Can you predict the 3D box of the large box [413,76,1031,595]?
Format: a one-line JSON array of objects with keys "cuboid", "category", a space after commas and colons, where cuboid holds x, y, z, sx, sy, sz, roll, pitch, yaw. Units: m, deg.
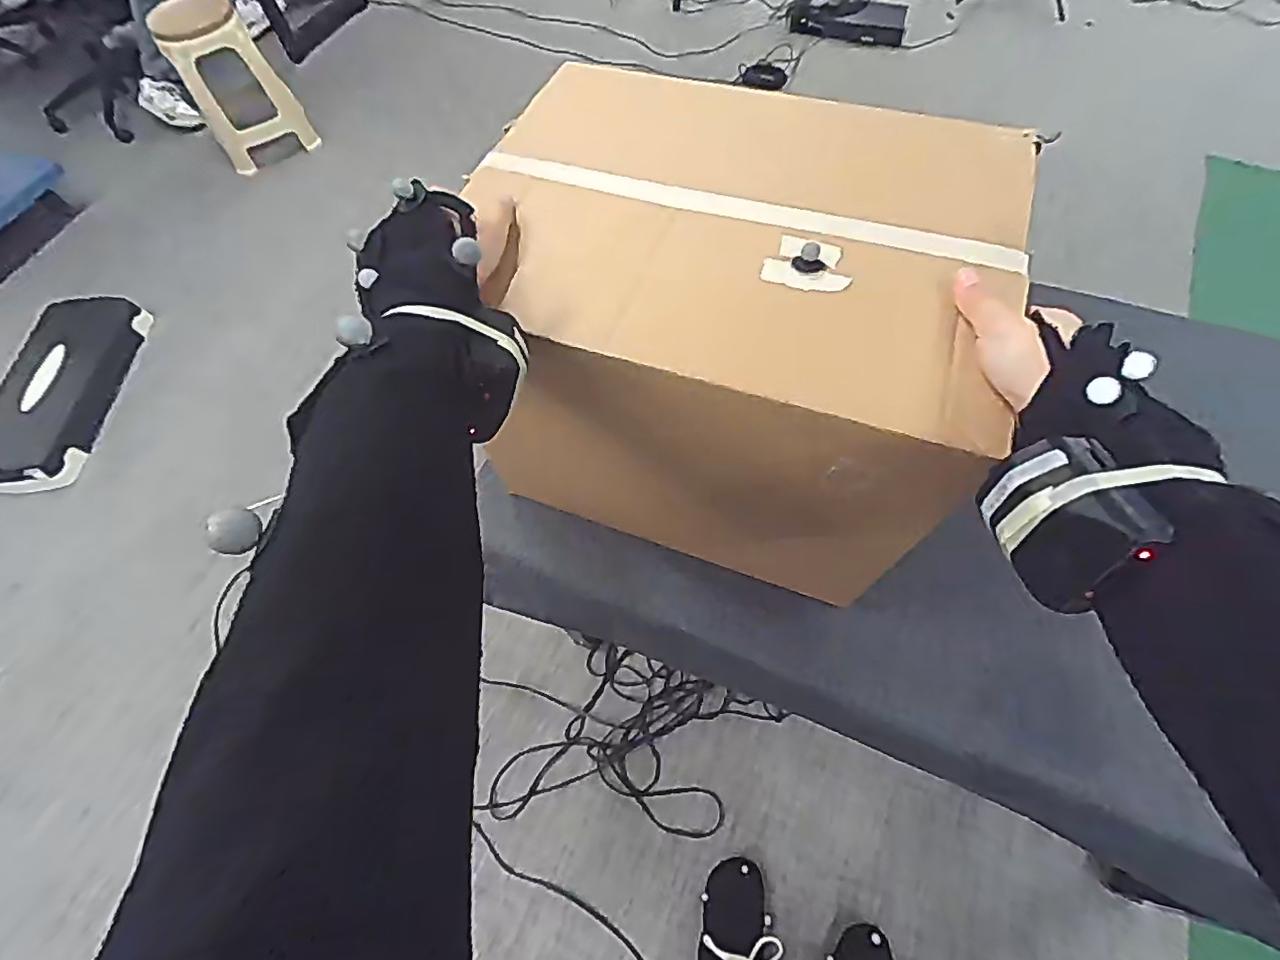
[{"cuboid": [0.079, -0.126, 0.536, 0.408, 0.320, 0.320, 18, 65, 11], "category": "large box"}]
